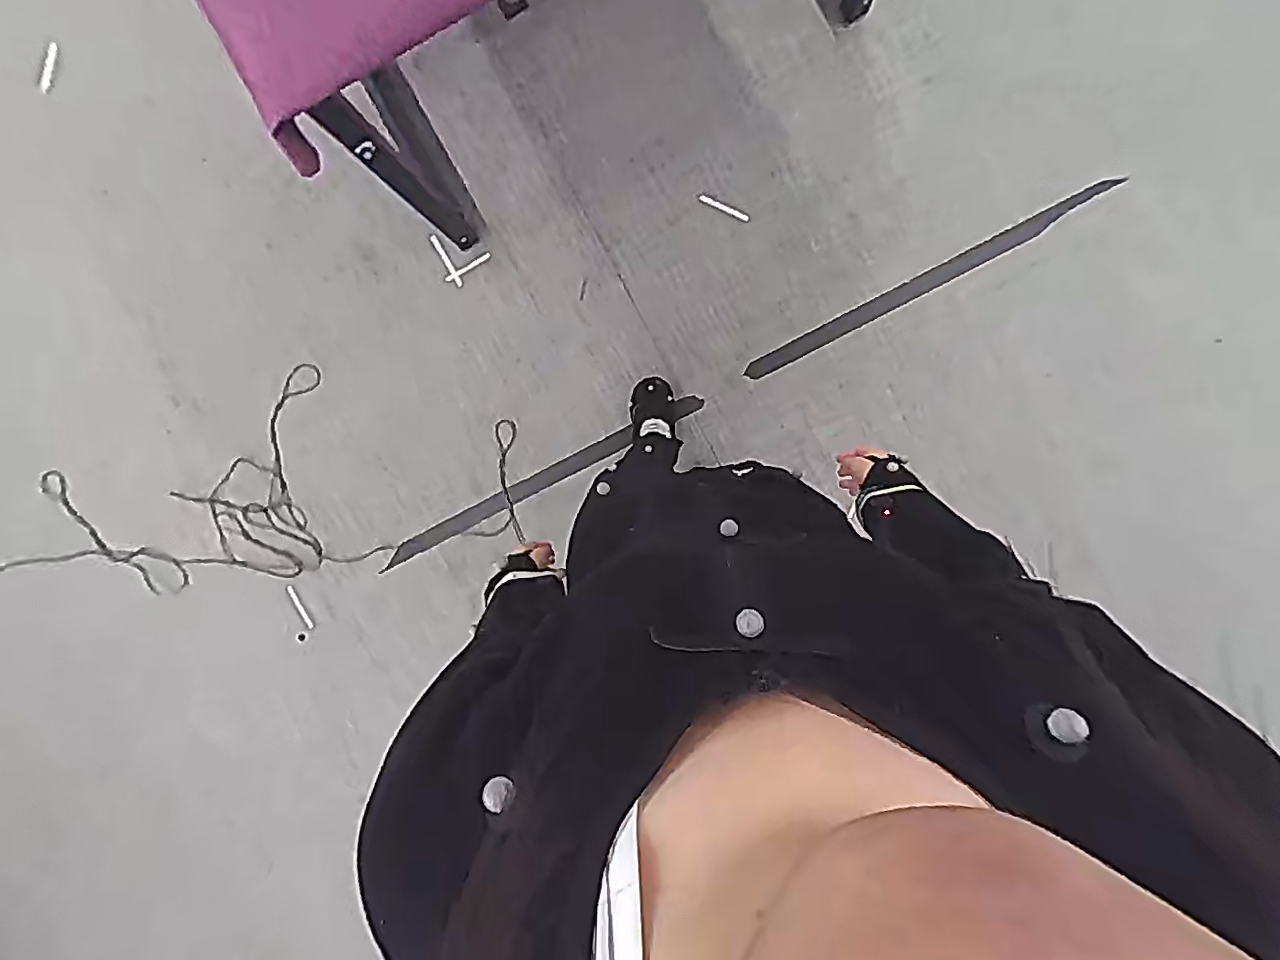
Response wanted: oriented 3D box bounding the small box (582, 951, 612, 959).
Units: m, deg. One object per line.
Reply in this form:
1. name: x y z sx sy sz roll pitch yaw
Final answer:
1. small box: -0.091 1.240 1.223 0.168 0.176 0.179 21 96 1
